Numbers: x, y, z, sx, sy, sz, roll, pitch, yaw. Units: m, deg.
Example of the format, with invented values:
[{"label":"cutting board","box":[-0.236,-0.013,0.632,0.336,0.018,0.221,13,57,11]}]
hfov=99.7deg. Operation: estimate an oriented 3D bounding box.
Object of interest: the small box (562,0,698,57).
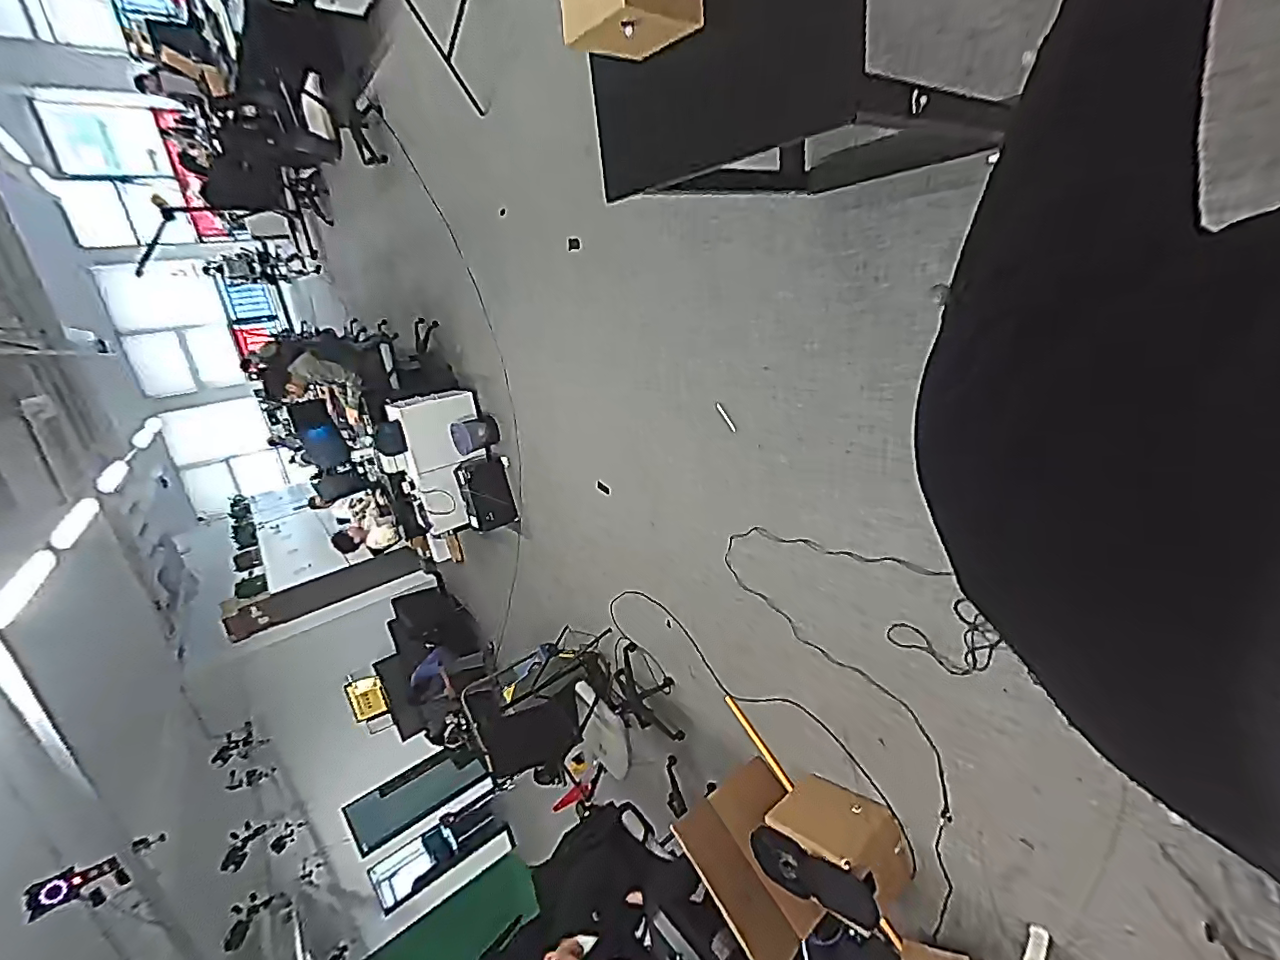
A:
[{"label":"small box","box":[-0.015,-0.824,0.882,0.179,0.176,0.168,22,124,49]}]
